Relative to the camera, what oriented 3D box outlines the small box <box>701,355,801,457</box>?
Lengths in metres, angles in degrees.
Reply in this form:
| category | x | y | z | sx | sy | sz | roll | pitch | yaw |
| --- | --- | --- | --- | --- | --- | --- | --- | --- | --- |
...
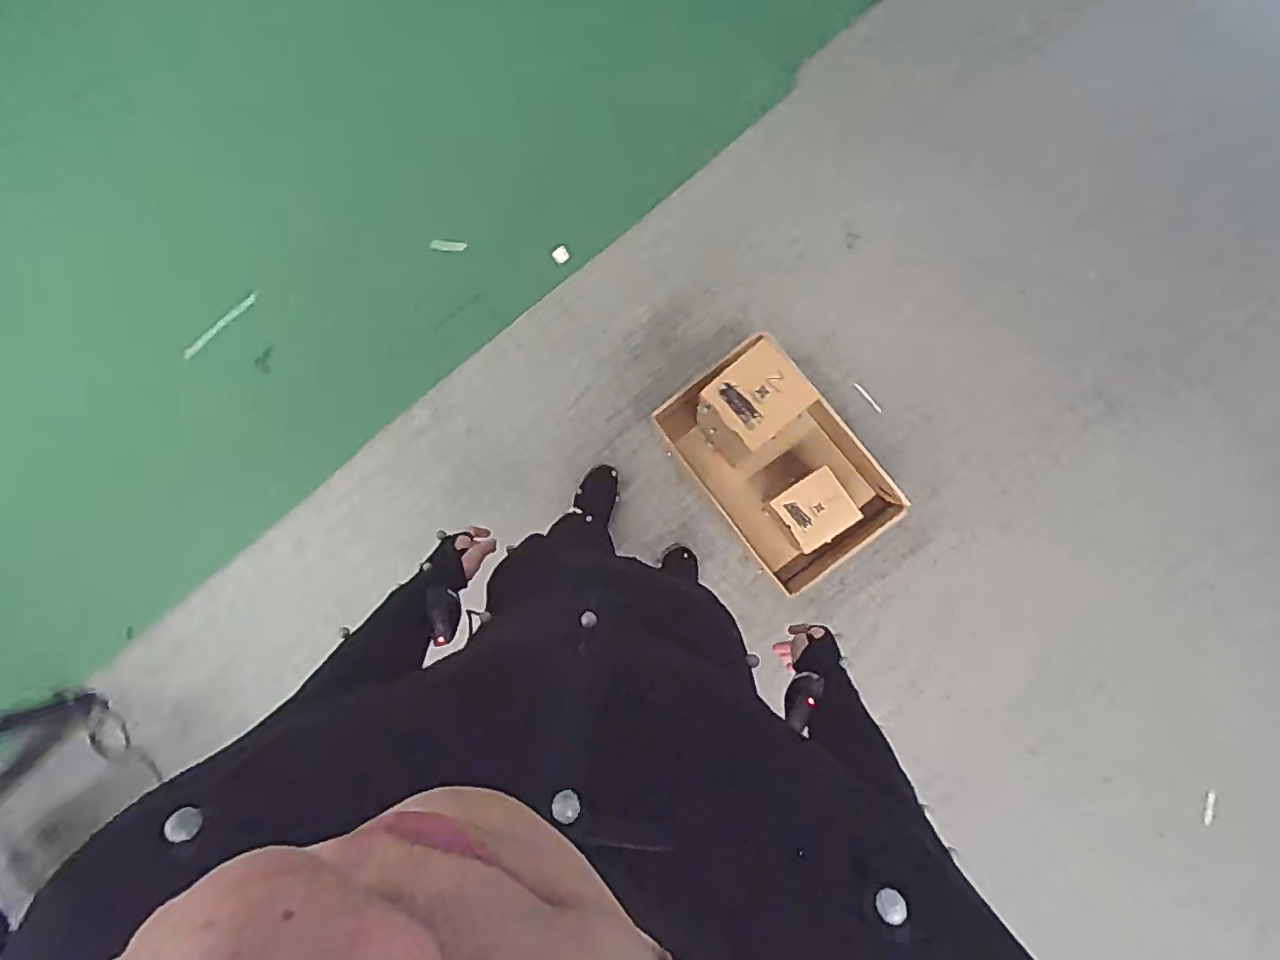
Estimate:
| category | x | y | z | sx | sy | sz | roll | pitch | yaw |
| --- | --- | --- | --- | --- | --- | --- | --- | --- | --- |
| small box | 0.262 | -0.174 | 1.330 | 0.179 | 0.176 | 0.168 | -40 | 84 | 2 |
